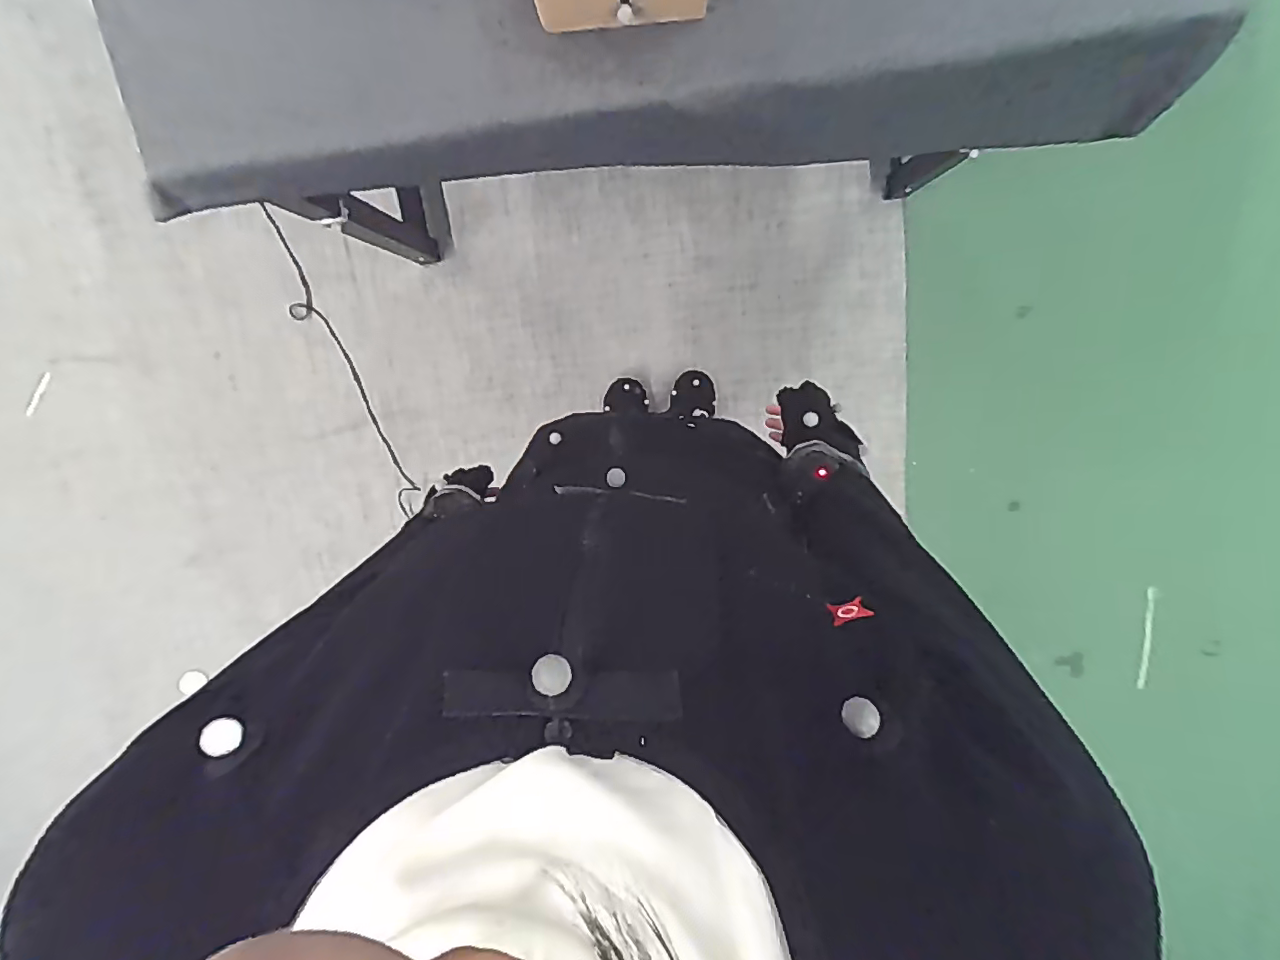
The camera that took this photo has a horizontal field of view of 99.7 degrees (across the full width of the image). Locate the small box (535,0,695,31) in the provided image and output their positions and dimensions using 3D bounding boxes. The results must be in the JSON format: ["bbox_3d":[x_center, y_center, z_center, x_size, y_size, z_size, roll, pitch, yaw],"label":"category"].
[{"bbox_3d":[-0.024,-0.554,0.491,0.179,0.176,0.168,-5,102,1],"label":"small box"}]
